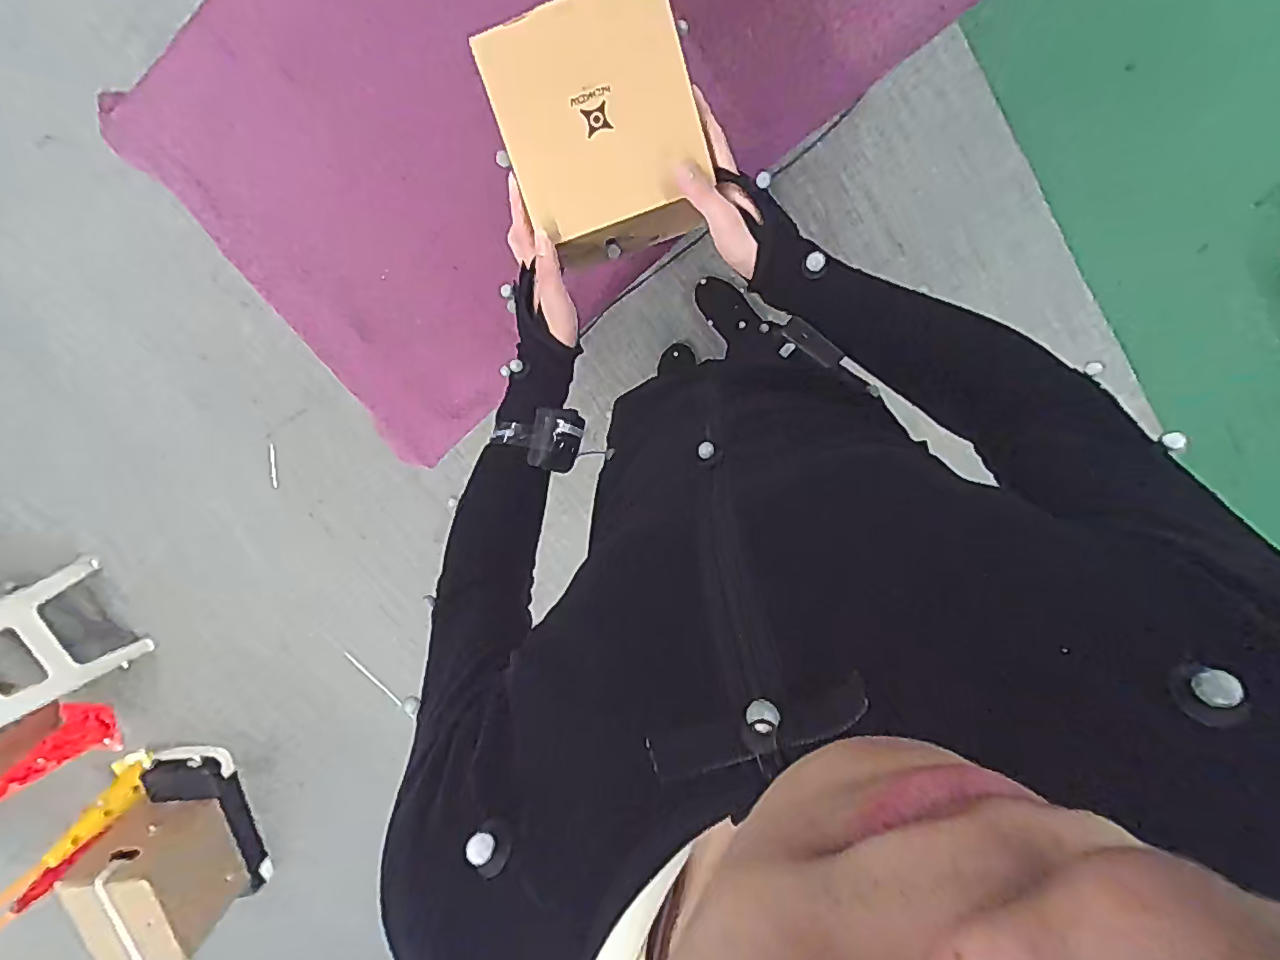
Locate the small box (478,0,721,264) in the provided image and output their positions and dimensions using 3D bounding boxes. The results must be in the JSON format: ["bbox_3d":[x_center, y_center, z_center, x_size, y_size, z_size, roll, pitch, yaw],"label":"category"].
[{"bbox_3d":[-0.027,-0.325,0.527,0.168,0.176,0.179,-17,102,7],"label":"small box"}]
